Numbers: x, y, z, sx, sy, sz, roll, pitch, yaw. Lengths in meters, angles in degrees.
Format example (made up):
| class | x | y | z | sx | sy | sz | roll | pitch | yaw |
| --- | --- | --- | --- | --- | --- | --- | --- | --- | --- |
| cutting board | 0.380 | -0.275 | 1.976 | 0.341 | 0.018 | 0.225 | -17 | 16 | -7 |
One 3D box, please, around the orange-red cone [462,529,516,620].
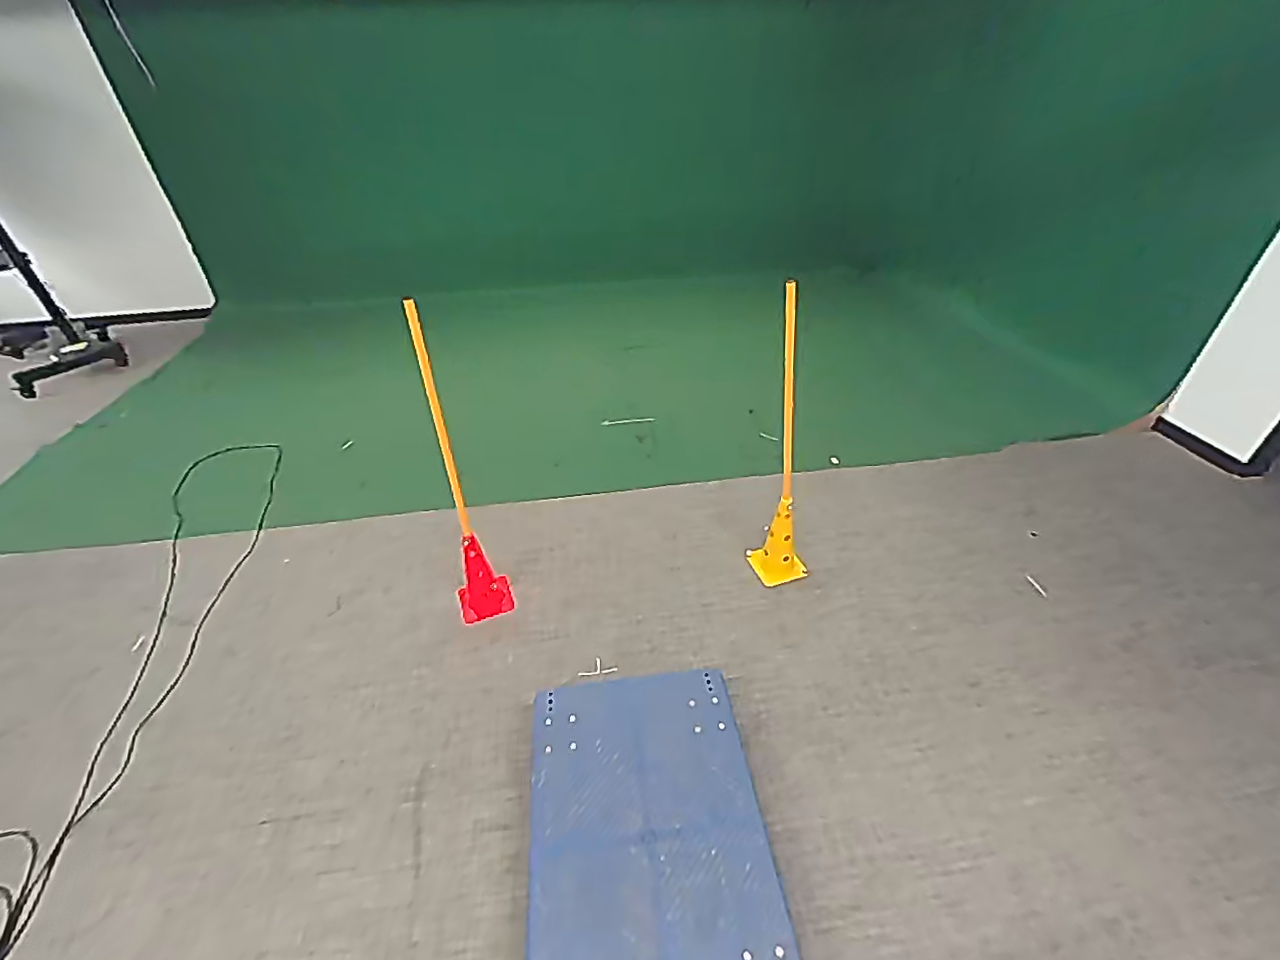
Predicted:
| class | x | y | z | sx | sy | sz | roll | pitch | yaw |
| --- | --- | --- | --- | --- | --- | --- | --- | --- | --- |
| orange-red cone | -0.611 | 0.327 | 2.044 | 0.199 | 0.360 | 0.198 | -16 | 39 | -15 |
